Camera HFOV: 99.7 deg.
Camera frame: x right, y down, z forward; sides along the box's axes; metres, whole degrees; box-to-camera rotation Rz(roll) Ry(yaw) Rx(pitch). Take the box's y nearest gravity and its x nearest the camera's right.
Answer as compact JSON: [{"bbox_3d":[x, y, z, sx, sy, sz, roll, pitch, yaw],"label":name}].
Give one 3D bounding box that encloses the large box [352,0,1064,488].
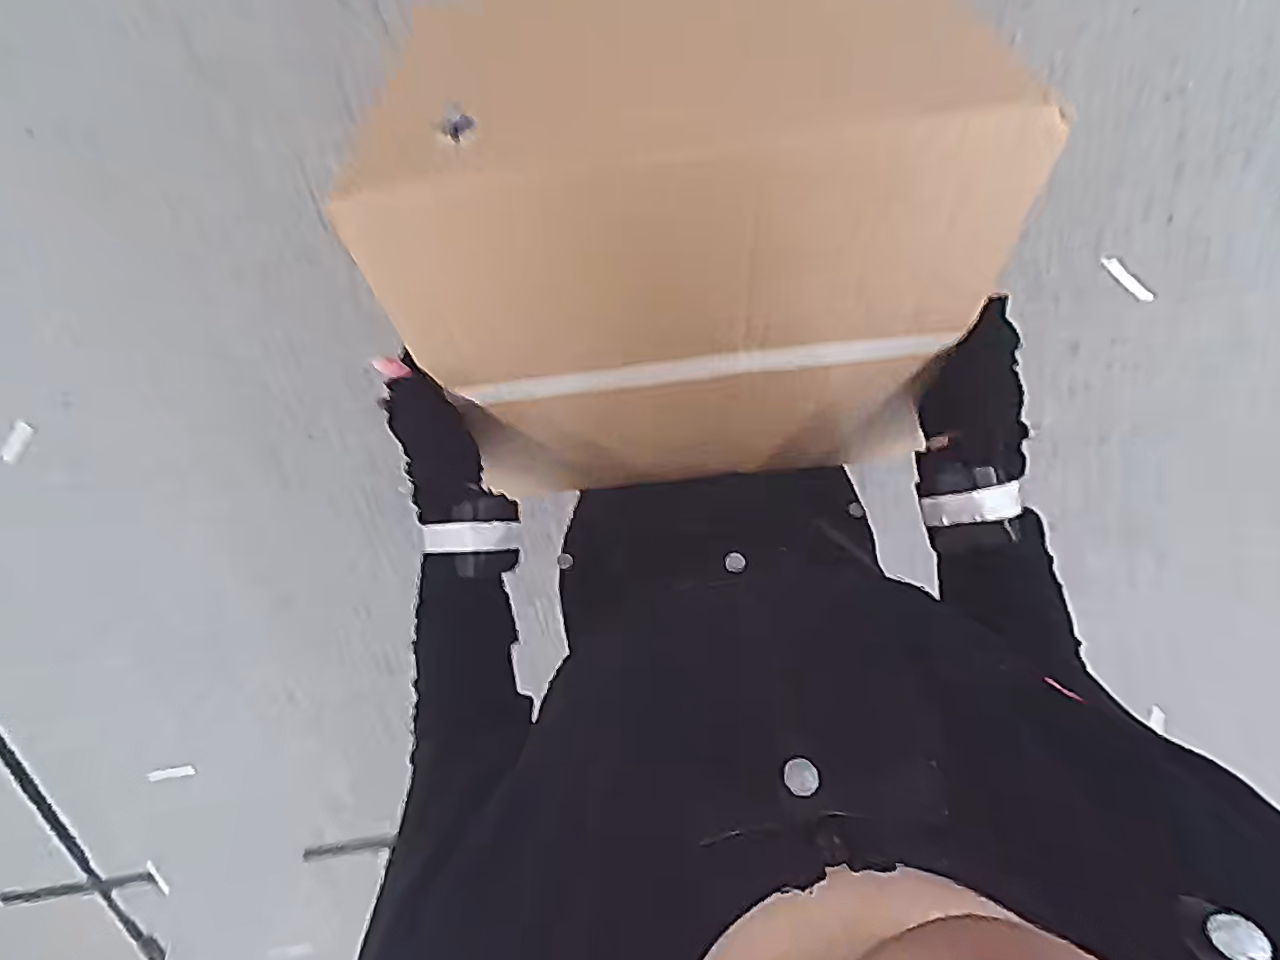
[{"bbox_3d":[0.035,-0.217,0.502,0.408,0.320,0.320,-5,148,3],"label":"large box"}]
